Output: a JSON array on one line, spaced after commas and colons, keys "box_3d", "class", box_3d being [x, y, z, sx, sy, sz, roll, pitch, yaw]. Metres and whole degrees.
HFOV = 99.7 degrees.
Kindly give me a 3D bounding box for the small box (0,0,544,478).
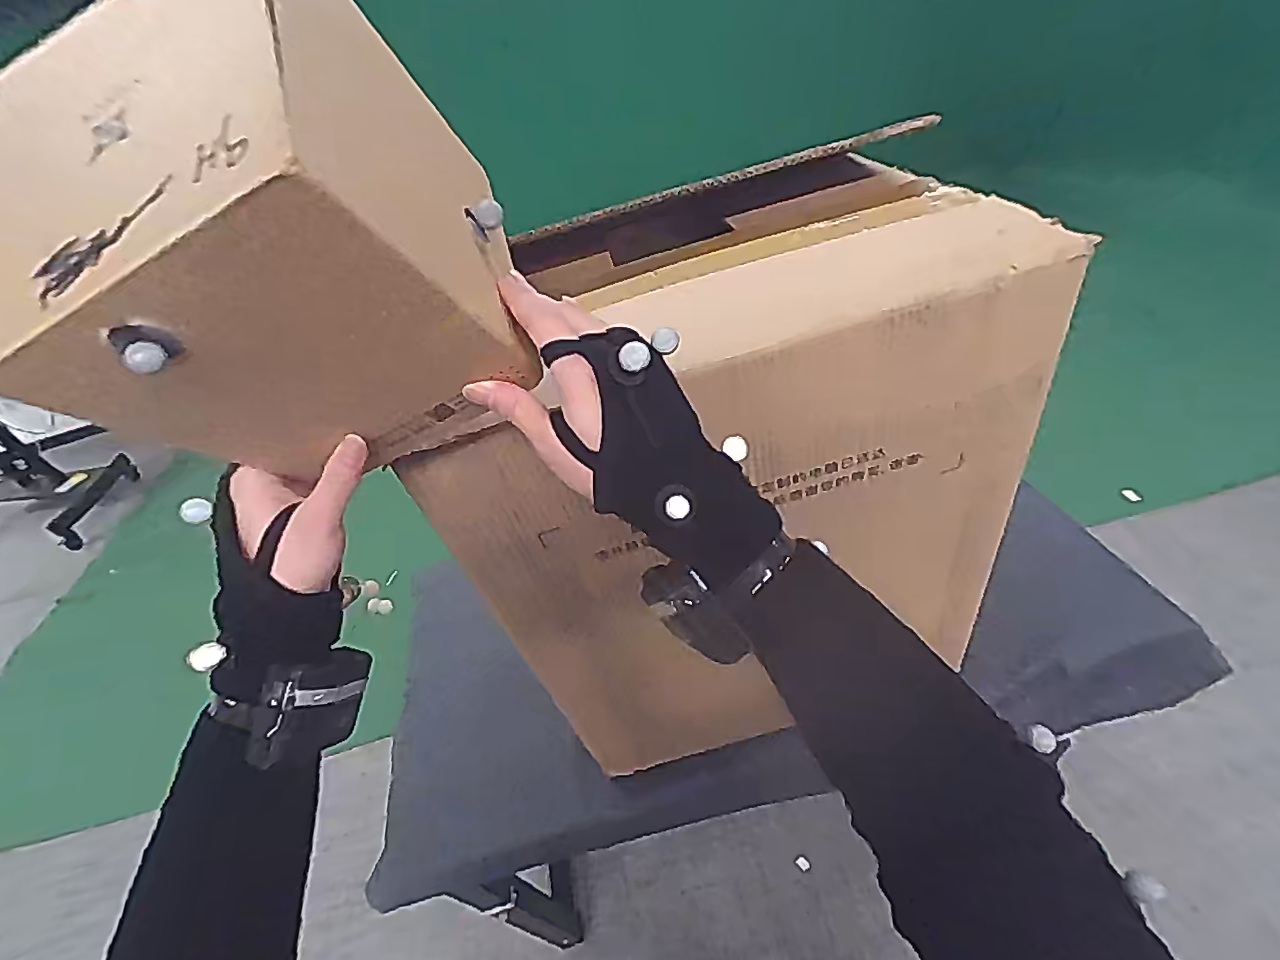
[{"box_3d": [-0.176, -0.125, 0.298, 0.168, 0.176, 0.179, -24, 68, 13], "class": "small box"}]
